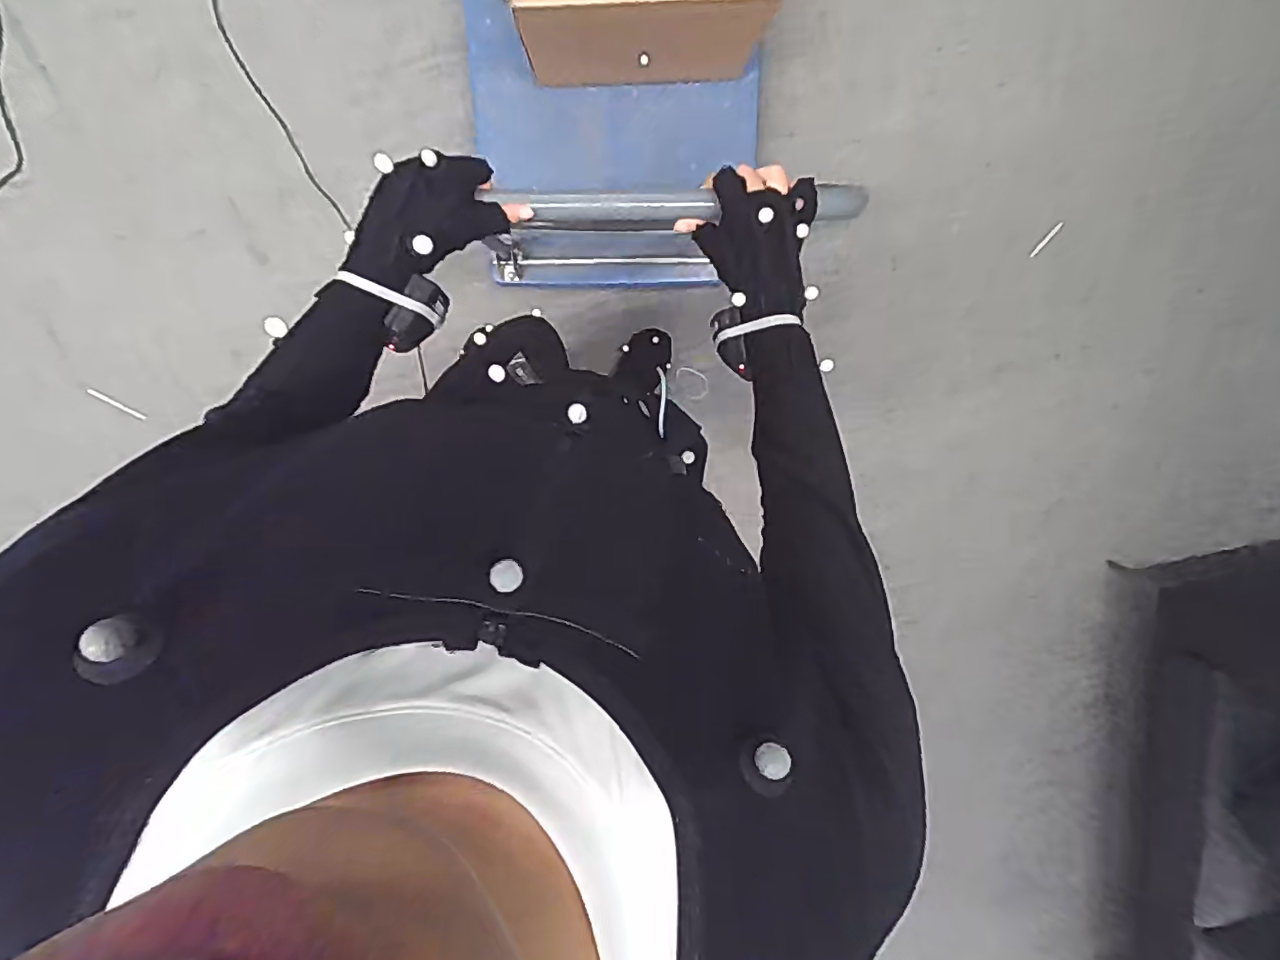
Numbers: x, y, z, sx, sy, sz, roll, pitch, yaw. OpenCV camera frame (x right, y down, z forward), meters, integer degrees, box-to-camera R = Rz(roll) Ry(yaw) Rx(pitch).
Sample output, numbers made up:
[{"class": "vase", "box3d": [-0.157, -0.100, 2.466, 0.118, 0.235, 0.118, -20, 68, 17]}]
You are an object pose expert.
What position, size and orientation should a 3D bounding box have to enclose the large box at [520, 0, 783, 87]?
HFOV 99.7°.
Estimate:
[{"class": "large box", "box3d": [0.009, -0.895, 0.896, 0.408, 0.320, 0.320, -4, 107, -1]}]
